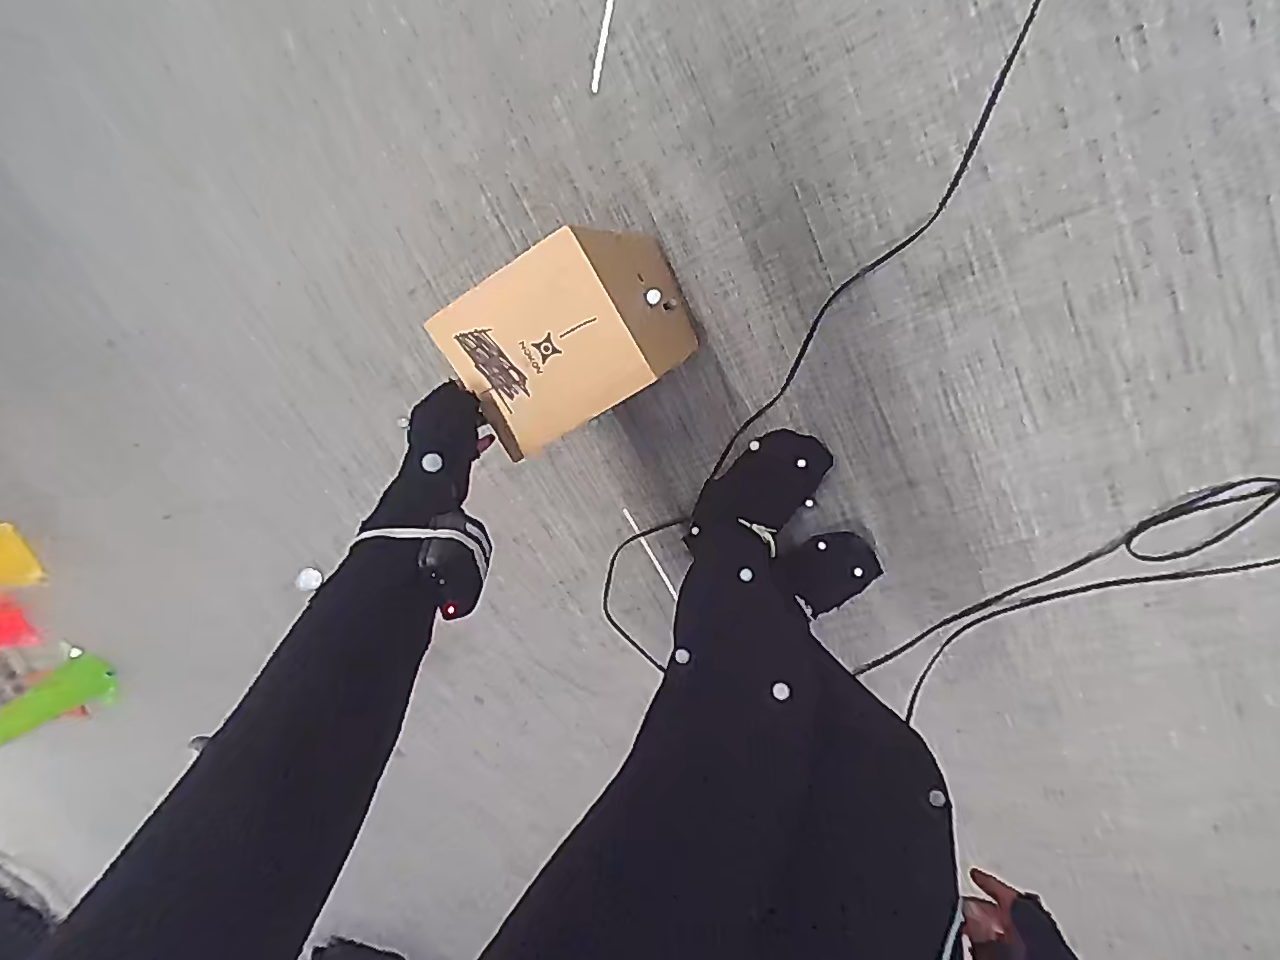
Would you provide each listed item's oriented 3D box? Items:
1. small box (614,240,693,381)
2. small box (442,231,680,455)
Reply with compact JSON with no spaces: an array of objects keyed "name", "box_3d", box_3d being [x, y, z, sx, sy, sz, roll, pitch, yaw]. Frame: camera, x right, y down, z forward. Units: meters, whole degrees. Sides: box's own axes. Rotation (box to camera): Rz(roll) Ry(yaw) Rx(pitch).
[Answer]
[{"name":"small box","box_3d":[-0.038,-0.219,0.760,0.168,0.176,0.179,-19,106,22]},{"name":"small box","box_3d":[-0.076,-0.155,0.613,0.179,0.176,0.168,-26,103,23]}]
